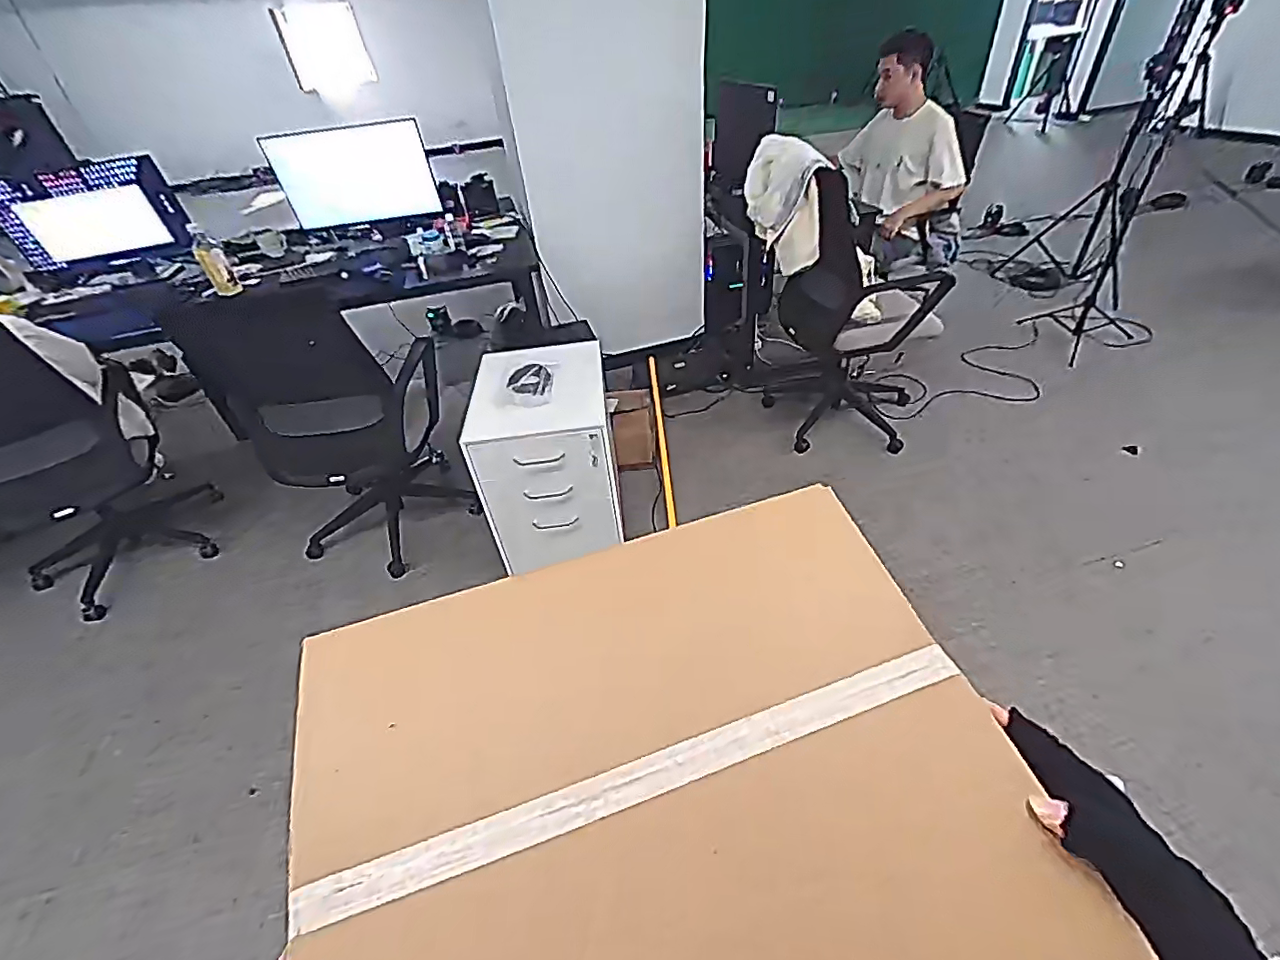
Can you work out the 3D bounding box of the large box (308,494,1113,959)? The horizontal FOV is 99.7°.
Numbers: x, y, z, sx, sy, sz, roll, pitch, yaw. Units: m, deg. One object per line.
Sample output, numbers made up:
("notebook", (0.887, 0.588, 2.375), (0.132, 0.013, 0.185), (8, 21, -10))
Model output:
("large box", (0.016, 0.268, 0.444), (0.408, 0.320, 0.320), (-17, 53, -10))
